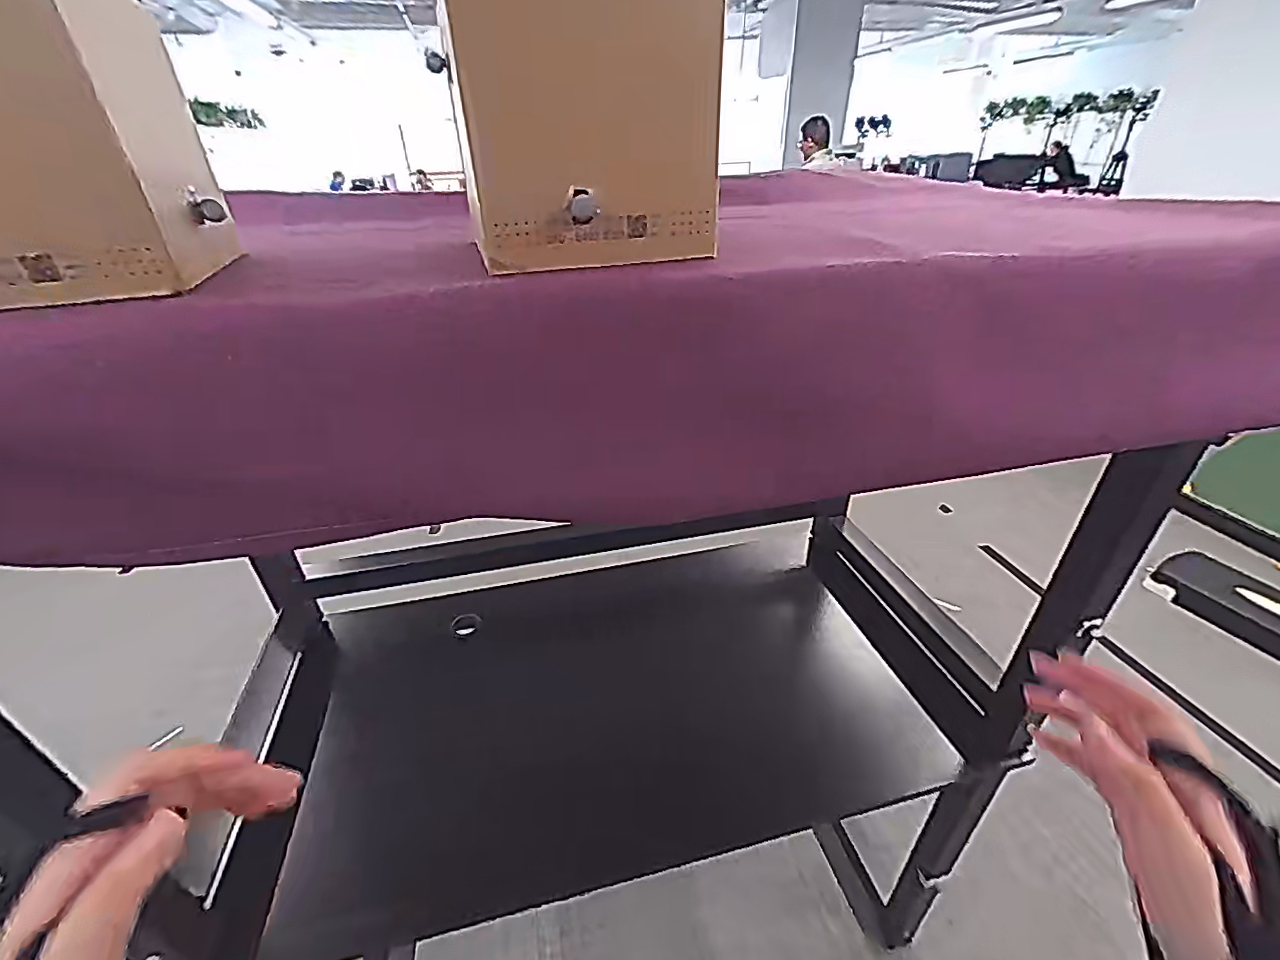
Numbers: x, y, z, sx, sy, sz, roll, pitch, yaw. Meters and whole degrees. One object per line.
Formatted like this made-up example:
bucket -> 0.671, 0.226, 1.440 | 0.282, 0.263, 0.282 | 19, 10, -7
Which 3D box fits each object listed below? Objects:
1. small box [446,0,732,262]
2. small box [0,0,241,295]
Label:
small box -> -0.046, -0.265, 0.403 | 0.168, 0.176, 0.179 | -11, 33, -13
small box -> -0.381, -0.215, 0.332 | 0.168, 0.176, 0.179 | -13, 33, -18
